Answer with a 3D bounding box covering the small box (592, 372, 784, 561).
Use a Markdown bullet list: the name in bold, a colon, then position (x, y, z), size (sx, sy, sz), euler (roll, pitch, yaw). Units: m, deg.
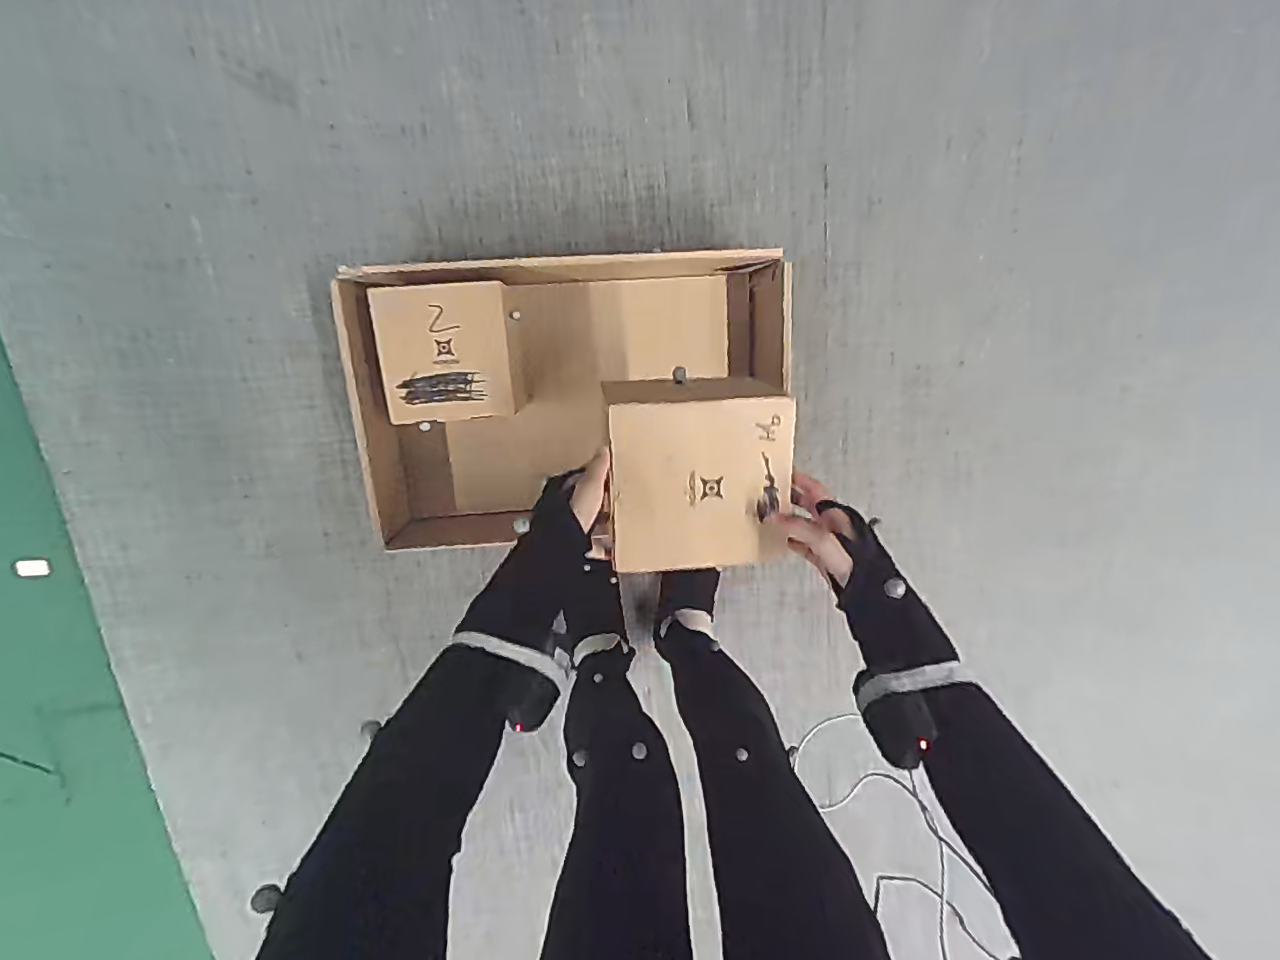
- **small box**: position (0.041, -0.024, 0.587), size (0.179, 0.176, 0.168), euler (-3, 108, -4)
